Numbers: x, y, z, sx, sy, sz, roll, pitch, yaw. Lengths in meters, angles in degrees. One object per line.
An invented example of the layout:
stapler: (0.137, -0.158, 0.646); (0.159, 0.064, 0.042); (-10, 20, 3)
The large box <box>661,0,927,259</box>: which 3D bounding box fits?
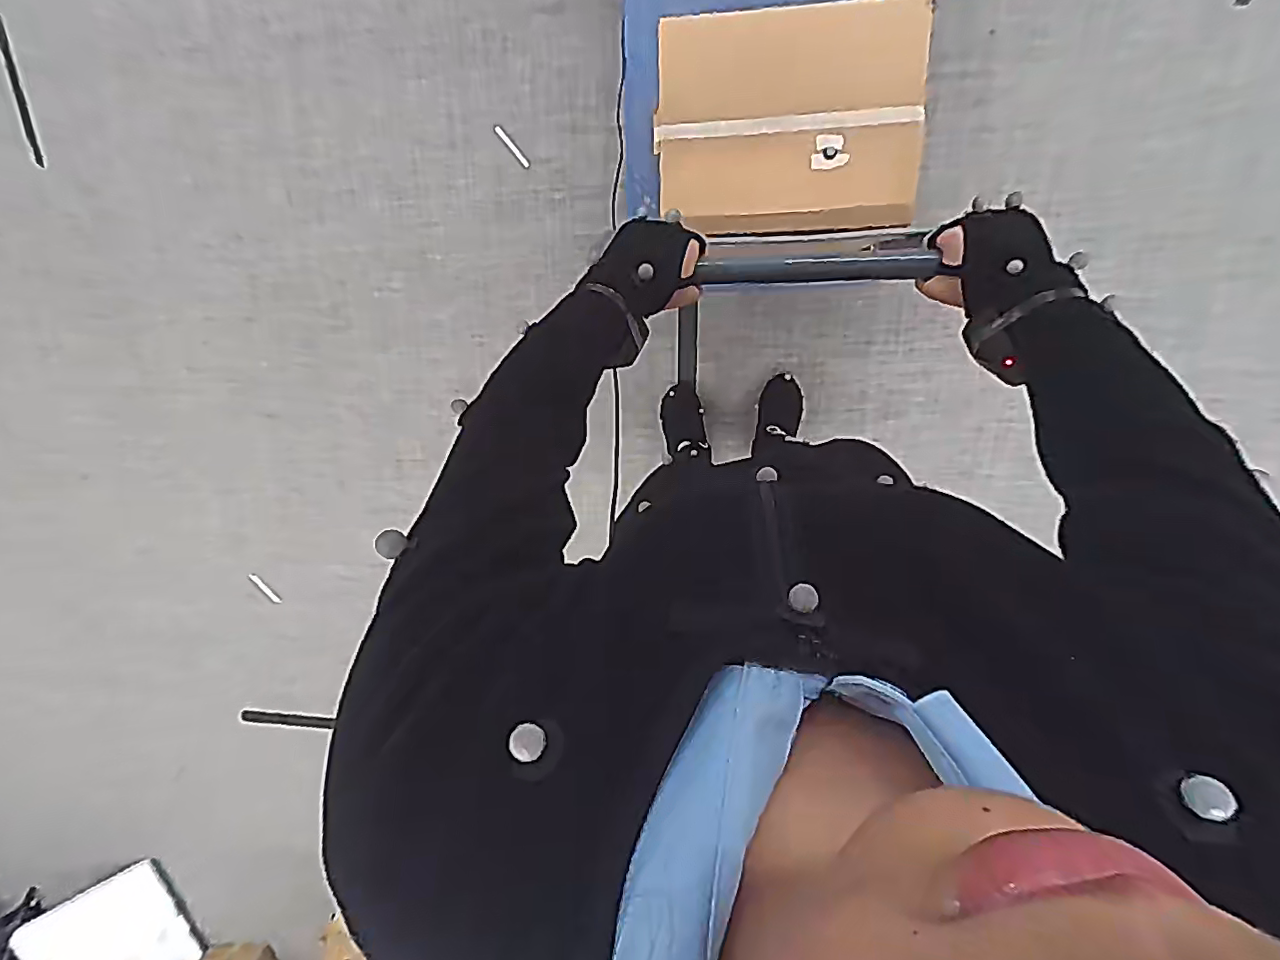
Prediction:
large box: (0.251, -0.604, 1.006); (0.408, 0.320, 0.320); (0, 106, 7)
